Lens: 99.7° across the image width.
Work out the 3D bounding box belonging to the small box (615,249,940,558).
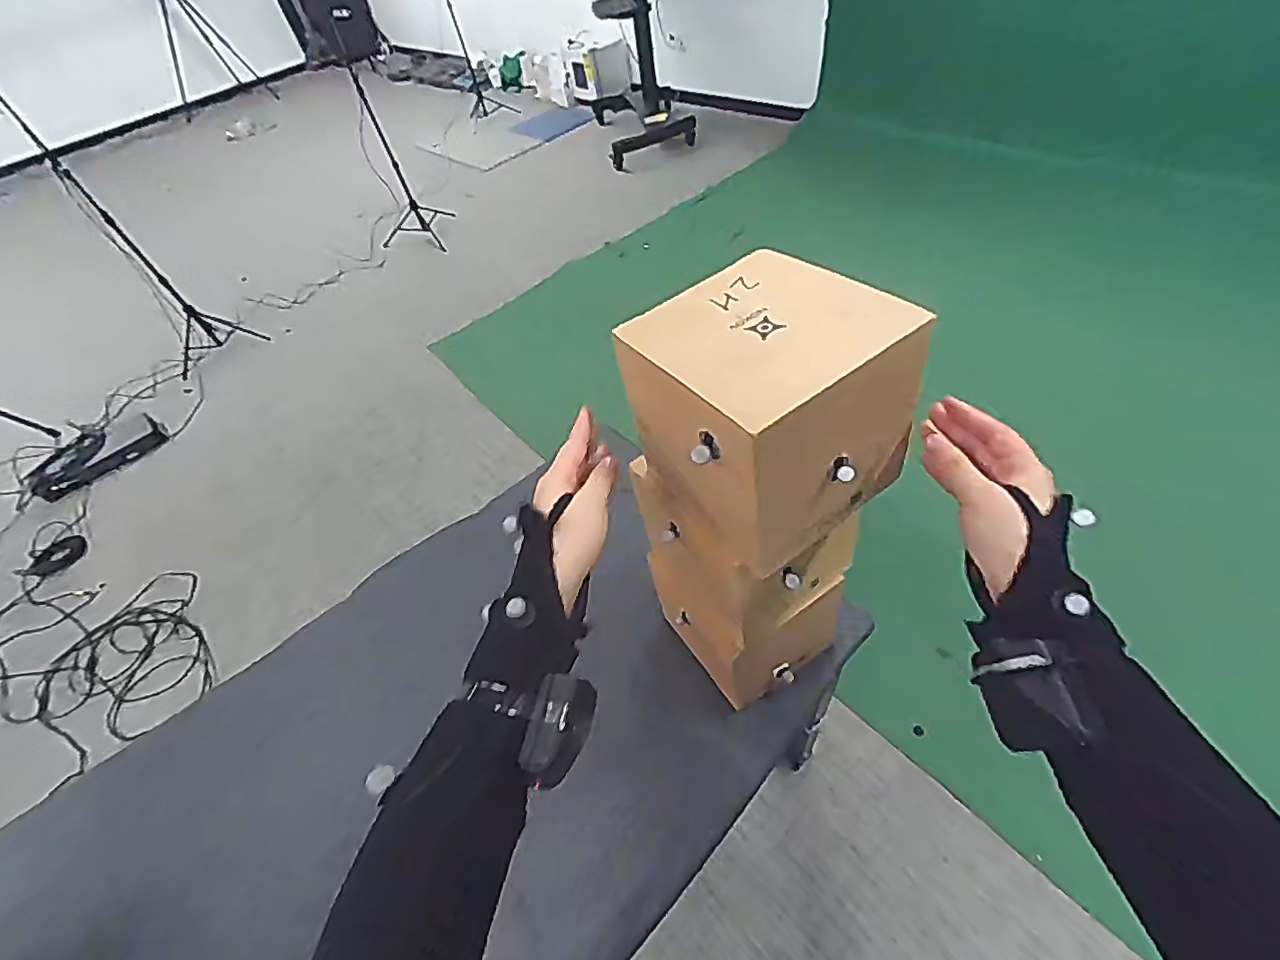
[{"bbox_3d":[0.107,-0.059,0.454,0.168,0.176,0.179,-32,48,-14],"label":"small box"}]

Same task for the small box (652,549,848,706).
[{"bbox_3d":[0.139,0.156,0.702,0.168,0.176,0.179,-32,50,-13],"label":"small box"}]

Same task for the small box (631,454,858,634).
[{"bbox_3d":[0.119,0.042,0.587,0.168,0.176,0.179,-33,48,-15],"label":"small box"}]
